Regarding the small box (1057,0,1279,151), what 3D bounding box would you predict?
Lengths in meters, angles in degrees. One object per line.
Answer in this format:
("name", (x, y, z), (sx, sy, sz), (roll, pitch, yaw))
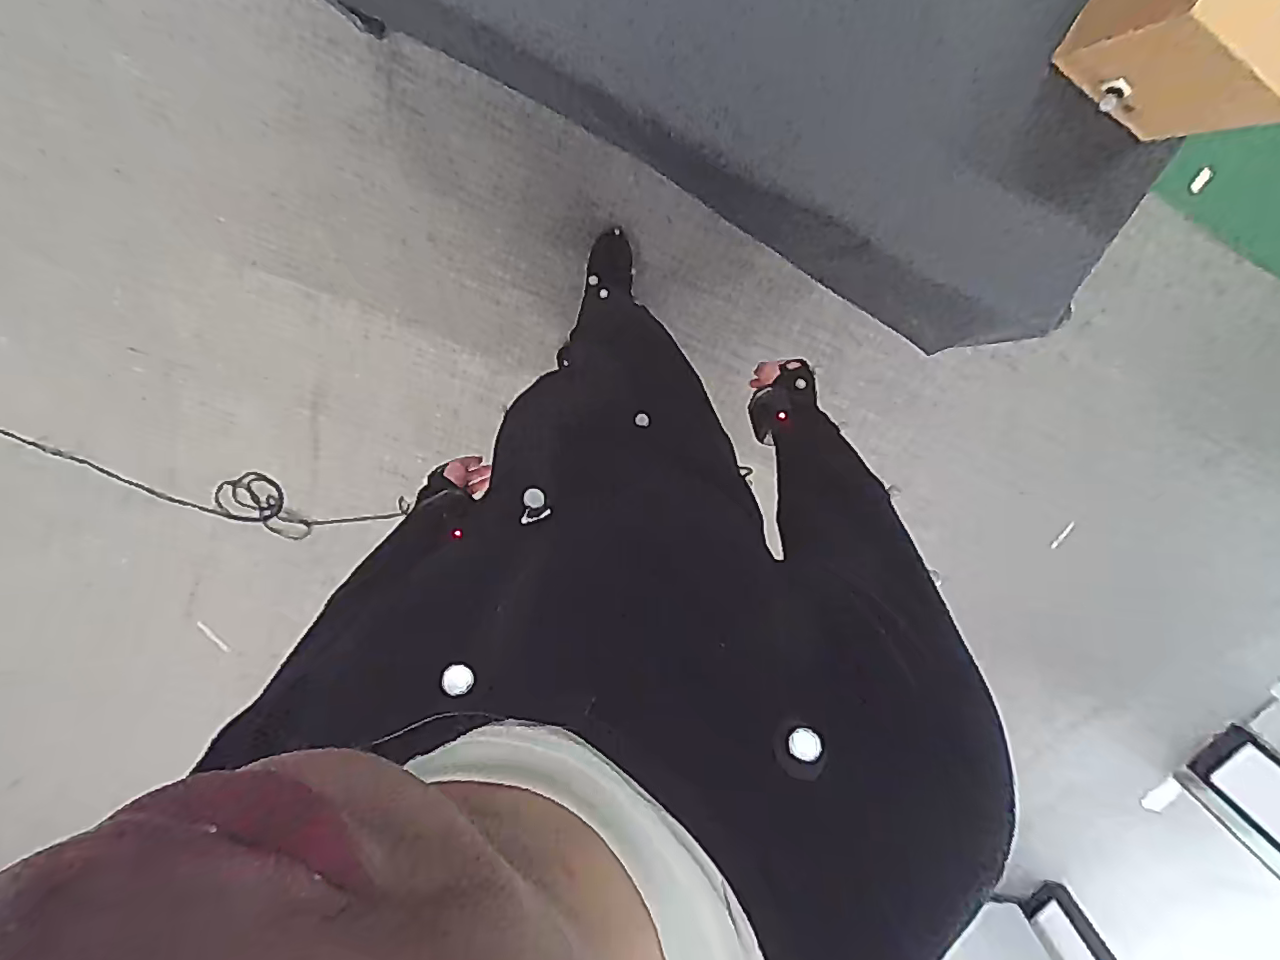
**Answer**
("small box", (0.561, -0.448, 0.510), (0.168, 0.176, 0.179), (27, 111, -14))
